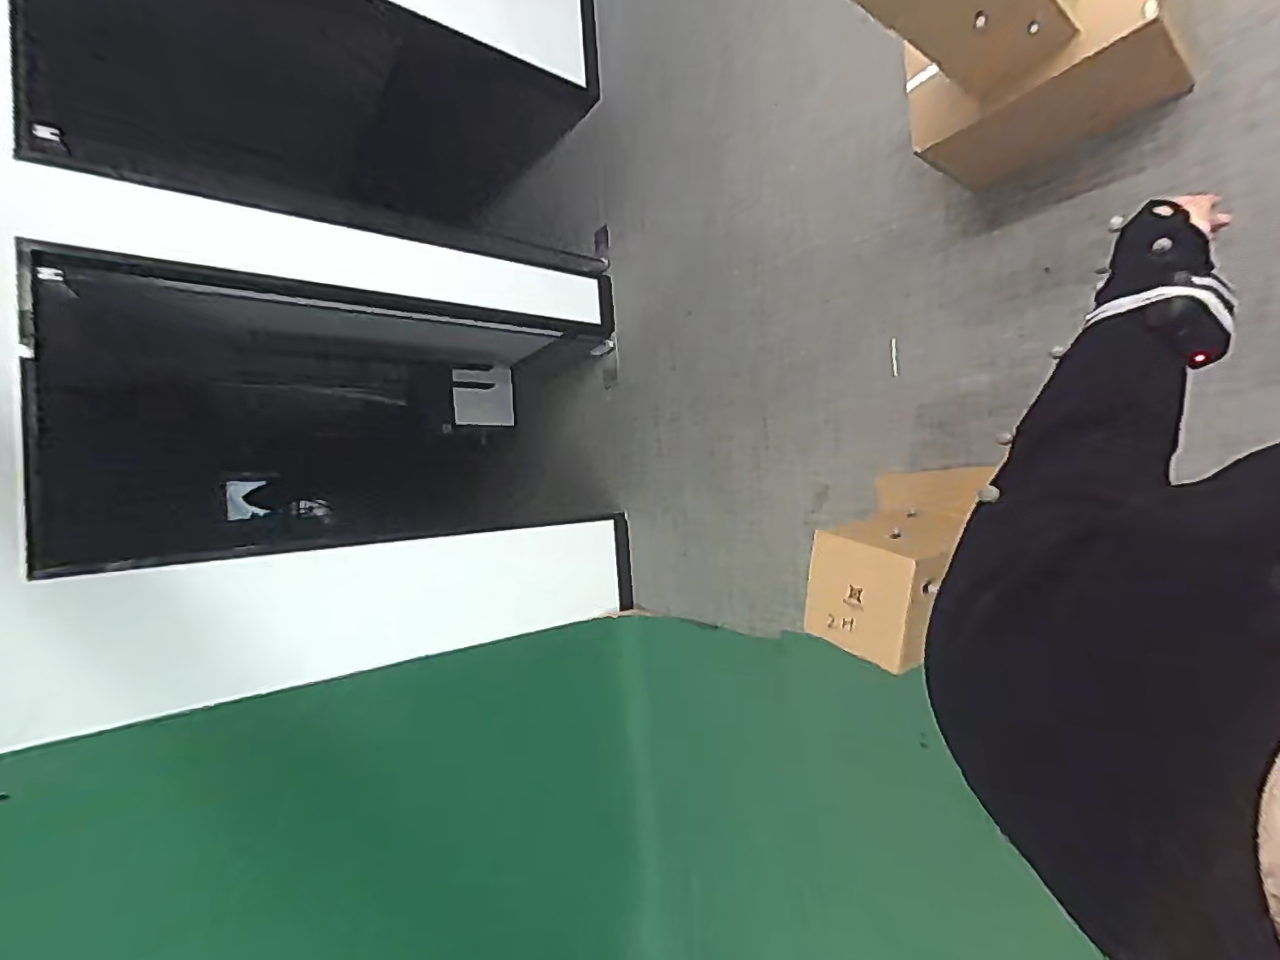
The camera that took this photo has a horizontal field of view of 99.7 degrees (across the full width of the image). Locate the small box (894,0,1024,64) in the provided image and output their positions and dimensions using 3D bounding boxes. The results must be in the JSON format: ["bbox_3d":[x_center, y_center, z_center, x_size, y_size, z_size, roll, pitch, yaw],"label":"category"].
[{"bbox_3d":[0.527,-0.853,0.894,0.179,0.176,0.168,-21,77,52],"label":"small box"}]

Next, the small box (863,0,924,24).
[{"bbox_3d":[0.392,-0.841,0.799,0.179,0.176,0.168,-22,77,52],"label":"small box"}]

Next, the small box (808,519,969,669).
[{"bbox_3d":[0.400,0.168,0.870,0.168,0.176,0.179,18,108,52],"label":"small box"}]
